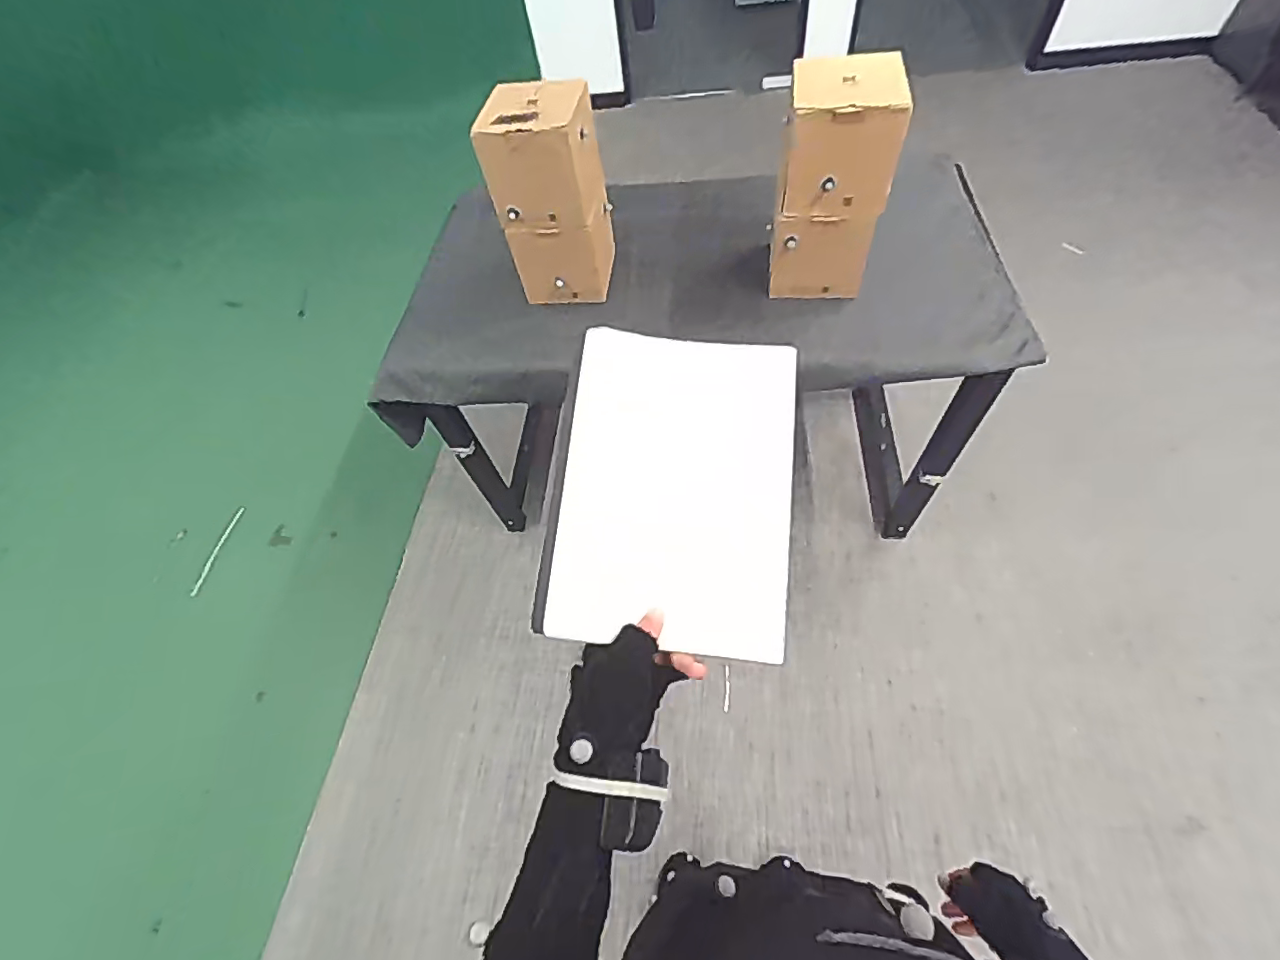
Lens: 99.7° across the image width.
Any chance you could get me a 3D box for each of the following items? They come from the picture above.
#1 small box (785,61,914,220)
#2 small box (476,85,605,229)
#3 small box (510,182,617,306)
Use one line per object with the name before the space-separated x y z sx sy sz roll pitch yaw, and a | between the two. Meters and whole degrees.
small box | 0.333 -0.558 0.895 0.168 0.176 0.179 4 57 10
small box | -0.165 -0.570 0.969 0.168 0.176 0.179 3 56 9
small box | -0.144 -0.478 1.103 0.168 0.176 0.179 1 57 9
